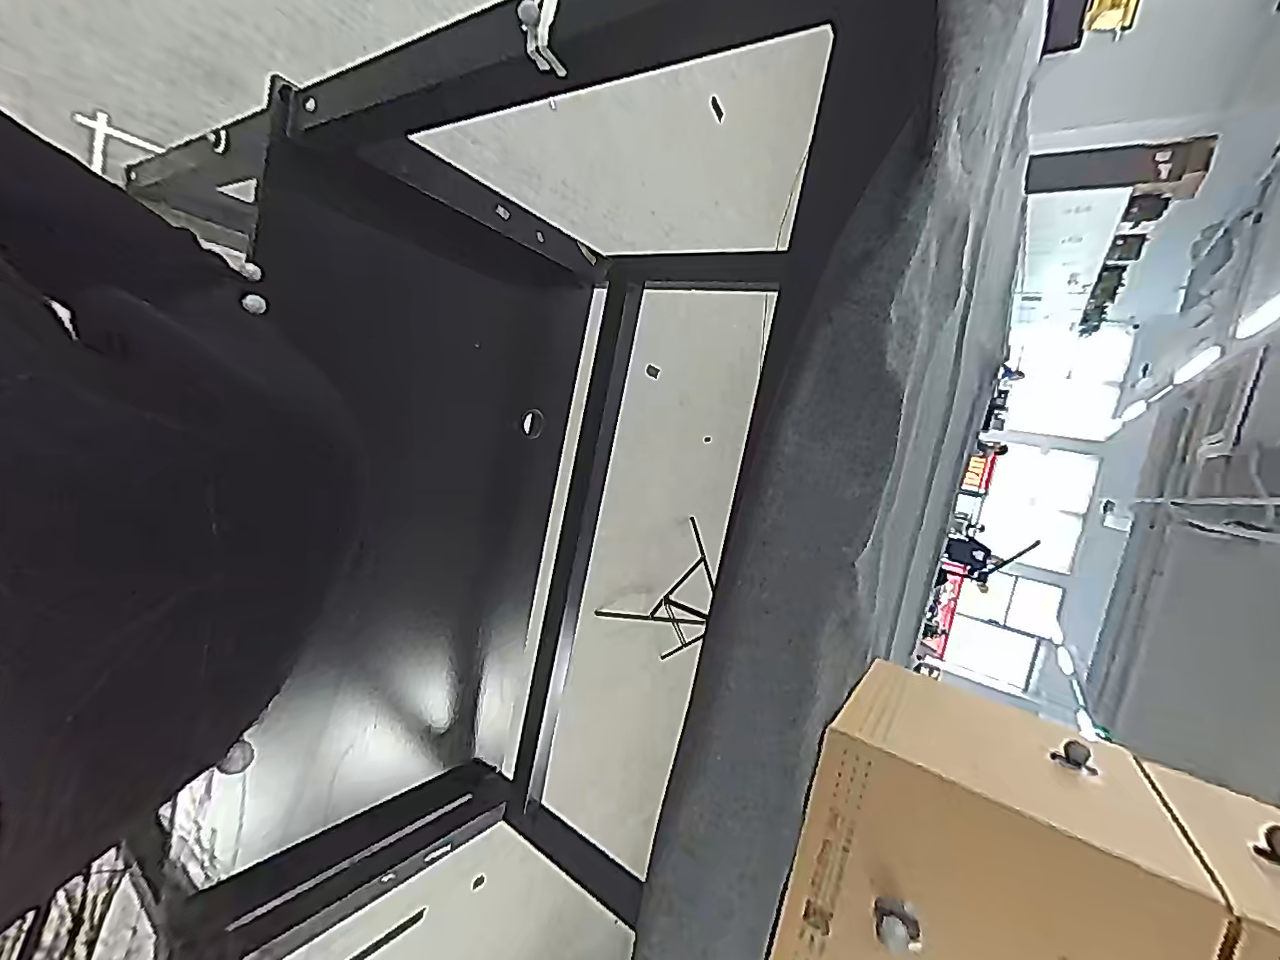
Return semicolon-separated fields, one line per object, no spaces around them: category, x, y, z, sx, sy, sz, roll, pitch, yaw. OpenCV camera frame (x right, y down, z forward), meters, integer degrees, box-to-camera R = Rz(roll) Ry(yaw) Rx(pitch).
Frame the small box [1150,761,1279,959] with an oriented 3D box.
small box;0.346;0.275;0.257;0.179;0.176;0.168;5;99;-58

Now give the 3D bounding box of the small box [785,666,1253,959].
small box;0.210;0.238;0.341;0.179;0.176;0.168;5;97;-58
